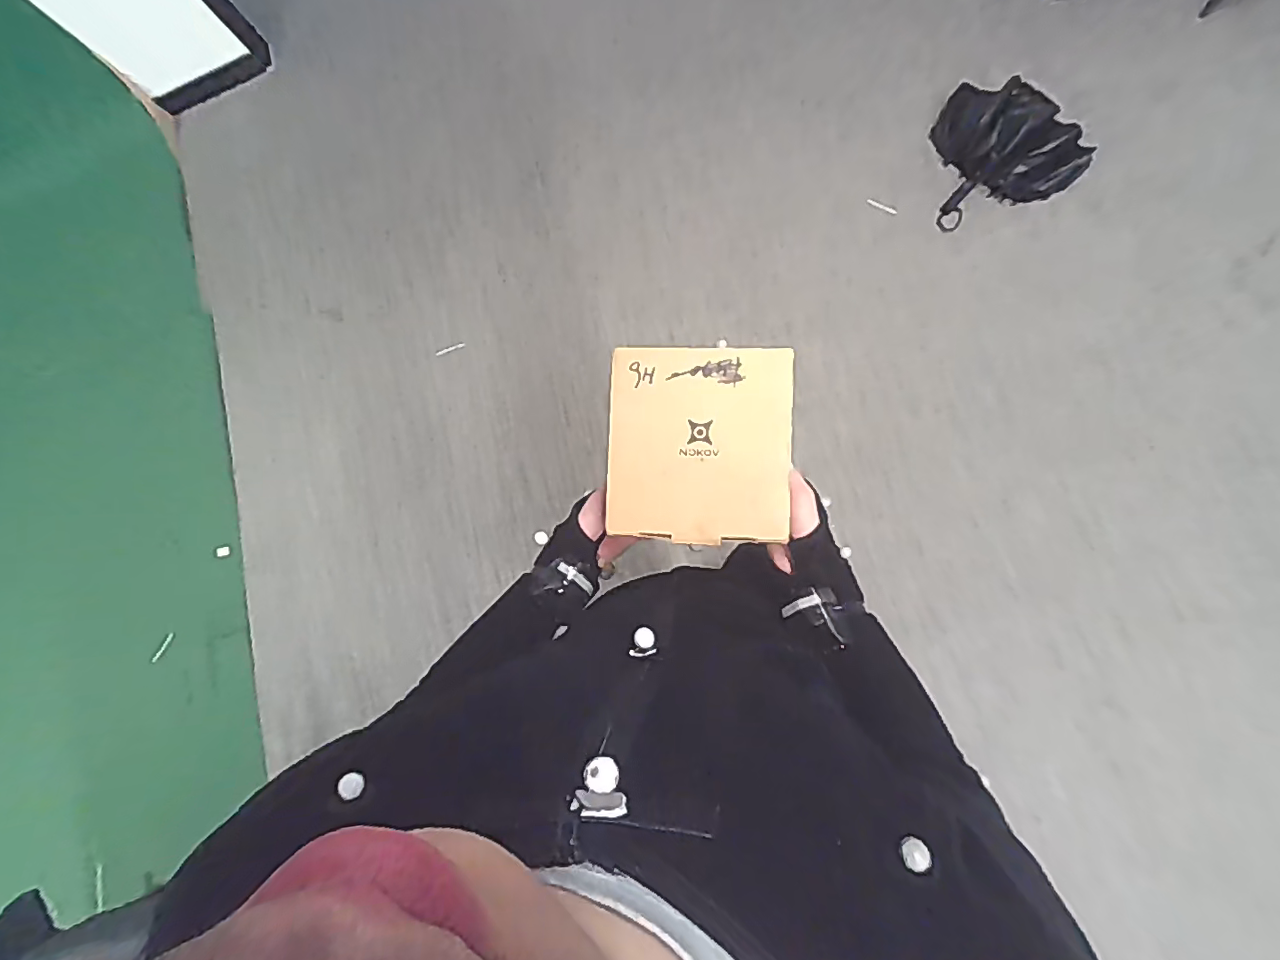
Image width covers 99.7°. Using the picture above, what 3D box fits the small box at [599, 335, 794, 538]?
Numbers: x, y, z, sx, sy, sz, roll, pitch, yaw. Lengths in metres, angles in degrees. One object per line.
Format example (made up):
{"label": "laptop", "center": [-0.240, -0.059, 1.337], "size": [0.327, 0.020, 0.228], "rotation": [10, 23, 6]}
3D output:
{"label": "small box", "center": [0.057, -0.037, 0.557], "size": [0.168, 0.176, 0.179], "rotation": [3, 87, 5]}
